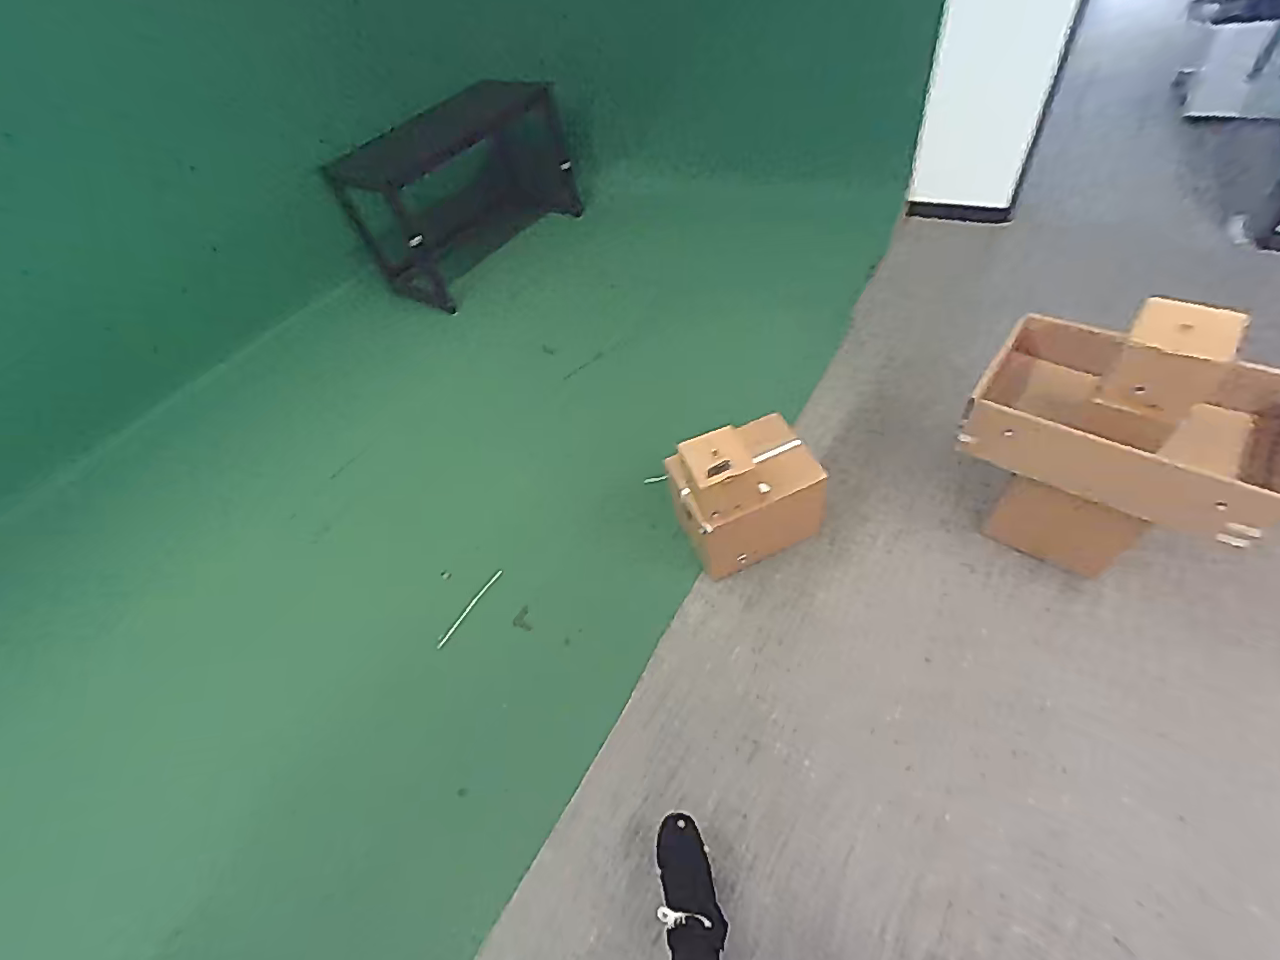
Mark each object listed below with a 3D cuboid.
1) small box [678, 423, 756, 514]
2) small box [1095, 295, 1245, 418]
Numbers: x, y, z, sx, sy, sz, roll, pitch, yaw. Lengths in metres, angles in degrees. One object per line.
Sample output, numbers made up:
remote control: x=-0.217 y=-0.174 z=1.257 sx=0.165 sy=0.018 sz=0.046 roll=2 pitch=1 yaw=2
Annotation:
small box: x=0.221 y=-0.024 z=1.535 sx=0.168 sy=0.176 sz=0.179 roll=-20 pitch=51 yaw=-5
small box: x=1.149 y=-0.270 z=1.185 sx=0.168 sy=0.176 sz=0.179 roll=29 pitch=64 yaw=31
